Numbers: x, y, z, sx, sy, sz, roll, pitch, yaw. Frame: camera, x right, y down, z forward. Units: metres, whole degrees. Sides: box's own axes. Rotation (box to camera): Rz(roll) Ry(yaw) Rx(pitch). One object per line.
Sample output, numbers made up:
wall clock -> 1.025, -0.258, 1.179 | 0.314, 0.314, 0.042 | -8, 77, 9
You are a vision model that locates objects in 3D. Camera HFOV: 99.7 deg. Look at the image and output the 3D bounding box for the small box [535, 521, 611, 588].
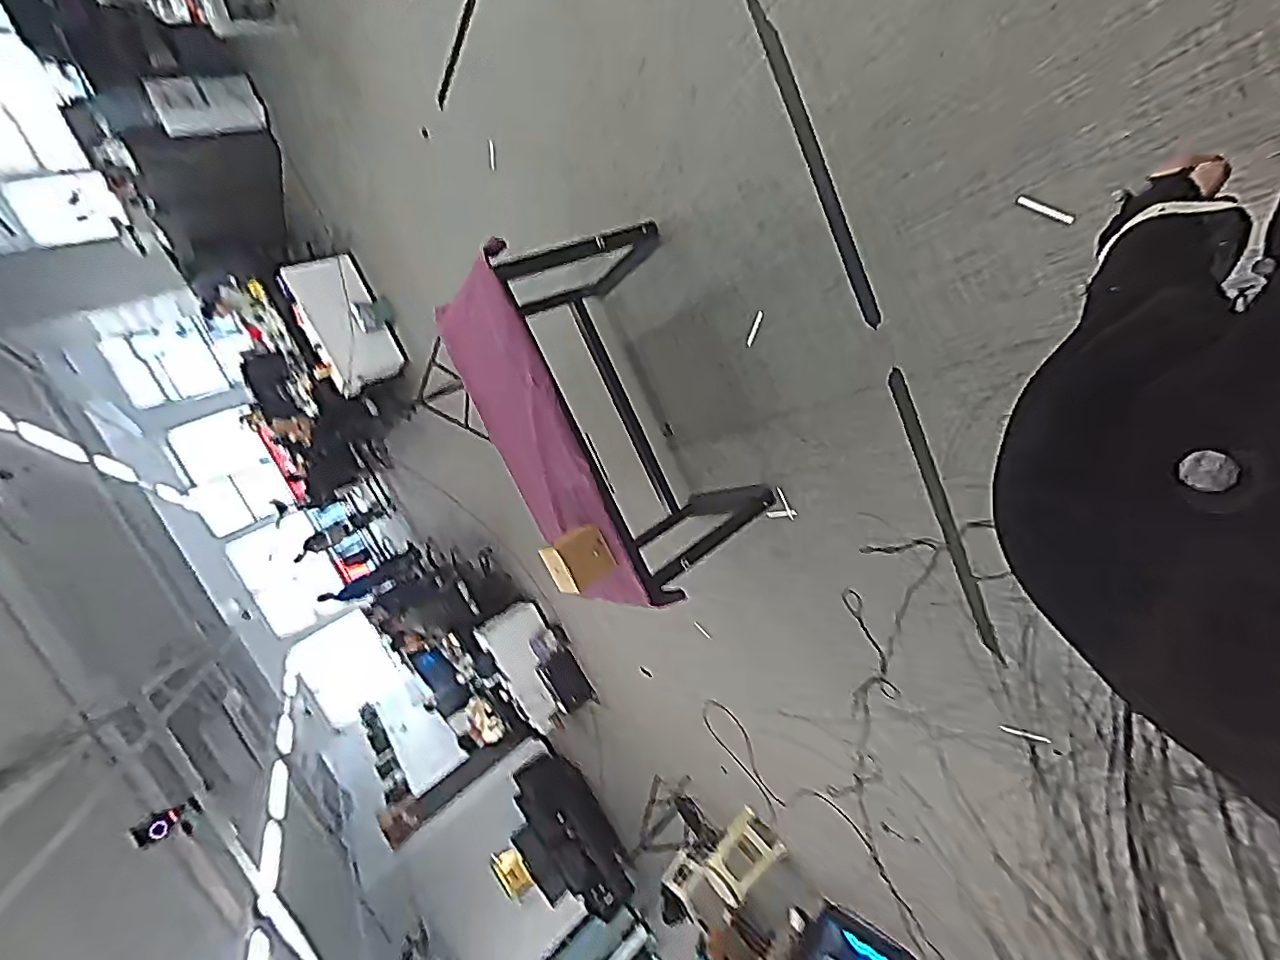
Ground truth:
small box -> -0.226, 0.254, 1.851 | 0.179, 0.176, 0.168 | -15, 104, 58
